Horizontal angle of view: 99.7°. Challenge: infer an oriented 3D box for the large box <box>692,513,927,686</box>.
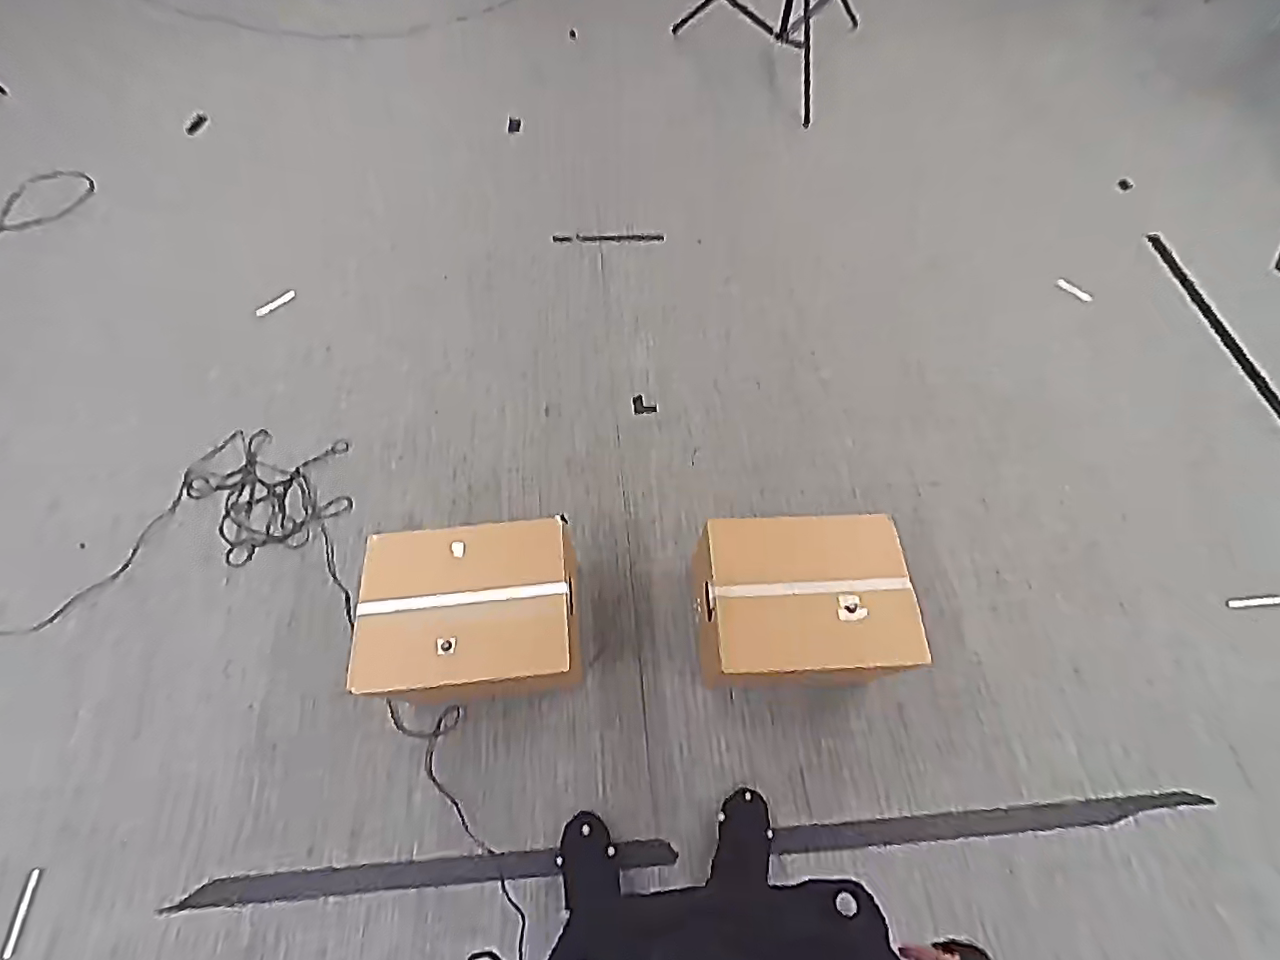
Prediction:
[{"bbox_3d":[0.347,0.282,1.232,0.408,0.320,0.320,-1,64,-2],"label":"large box"}]
